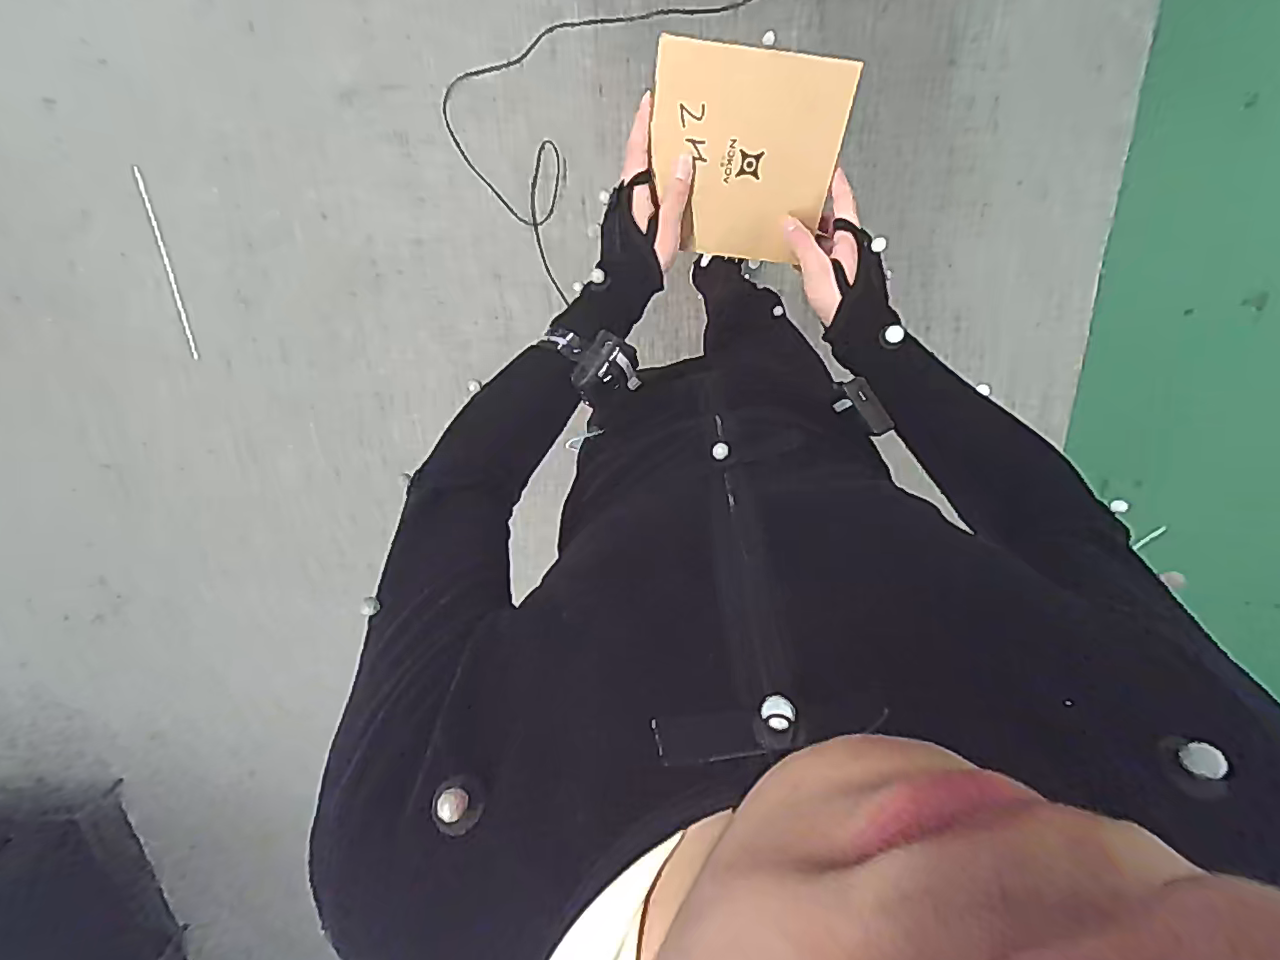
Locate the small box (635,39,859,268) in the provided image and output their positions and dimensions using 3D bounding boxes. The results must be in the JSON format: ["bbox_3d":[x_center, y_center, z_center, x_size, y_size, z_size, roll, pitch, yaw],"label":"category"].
[{"bbox_3d":[0.092,-0.333,0.558,0.179,0.176,0.168,7,124,-1],"label":"small box"}]
